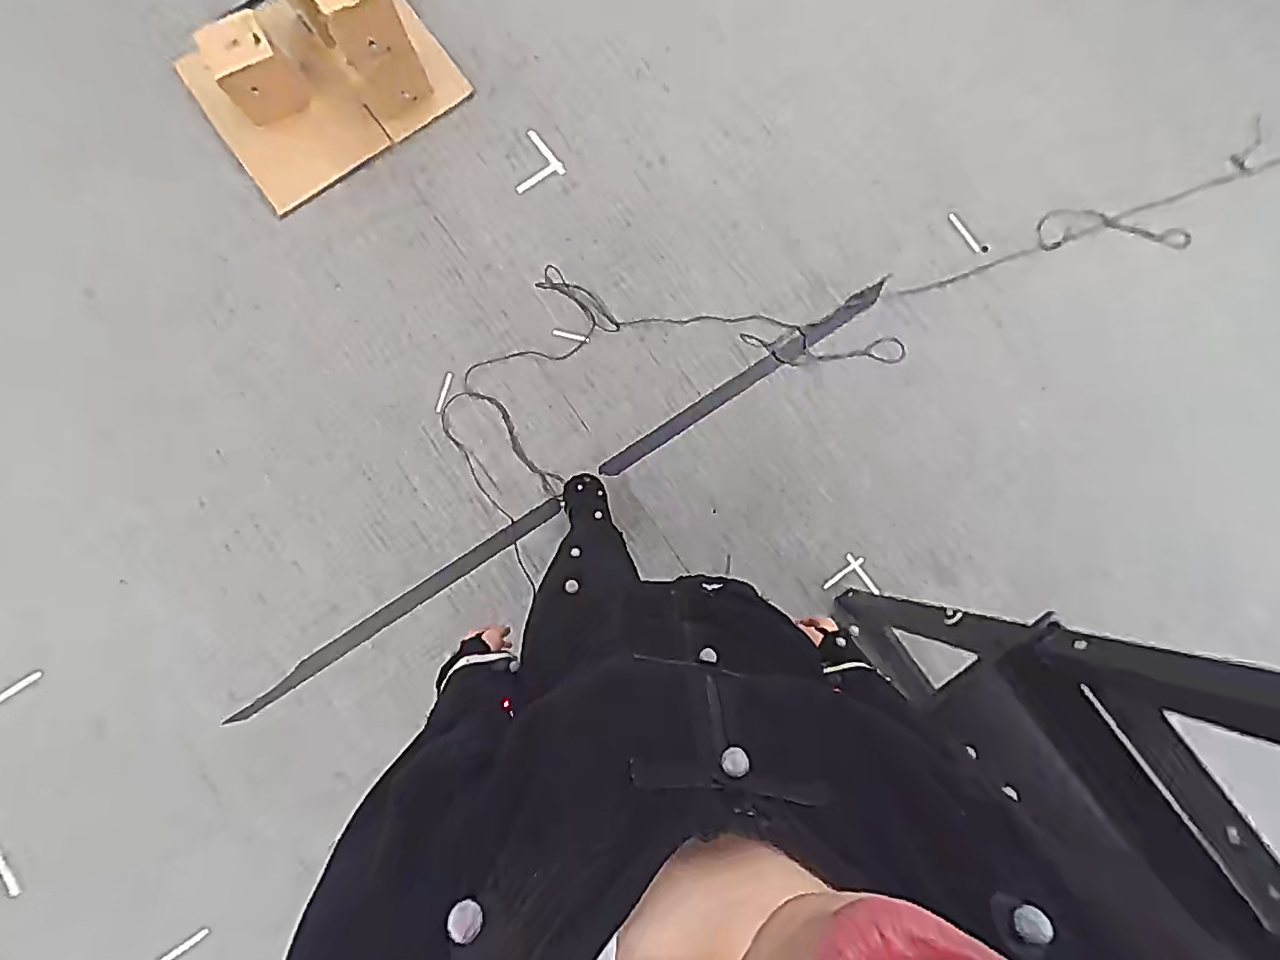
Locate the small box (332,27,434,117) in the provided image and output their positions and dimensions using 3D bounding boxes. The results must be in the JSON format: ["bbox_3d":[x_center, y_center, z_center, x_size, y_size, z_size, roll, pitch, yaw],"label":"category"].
[{"bbox_3d":[-0.732,-1.205,1.557,0.168,0.176,0.179,-35,86,-4],"label":"small box"}]

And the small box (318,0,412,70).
[{"bbox_3d":[-0.727,-1.223,1.395,0.168,0.176,0.179,-32,86,-4],"label":"small box"}]

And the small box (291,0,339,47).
[{"bbox_3d":[-0.932,-1.439,1.581,0.179,0.176,0.168,-40,84,-5],"label":"small box"}]

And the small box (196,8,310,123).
[{"bbox_3d":[-1.097,-1.172,1.545,0.179,0.176,0.168,-27,85,-2],"label":"small box"}]
